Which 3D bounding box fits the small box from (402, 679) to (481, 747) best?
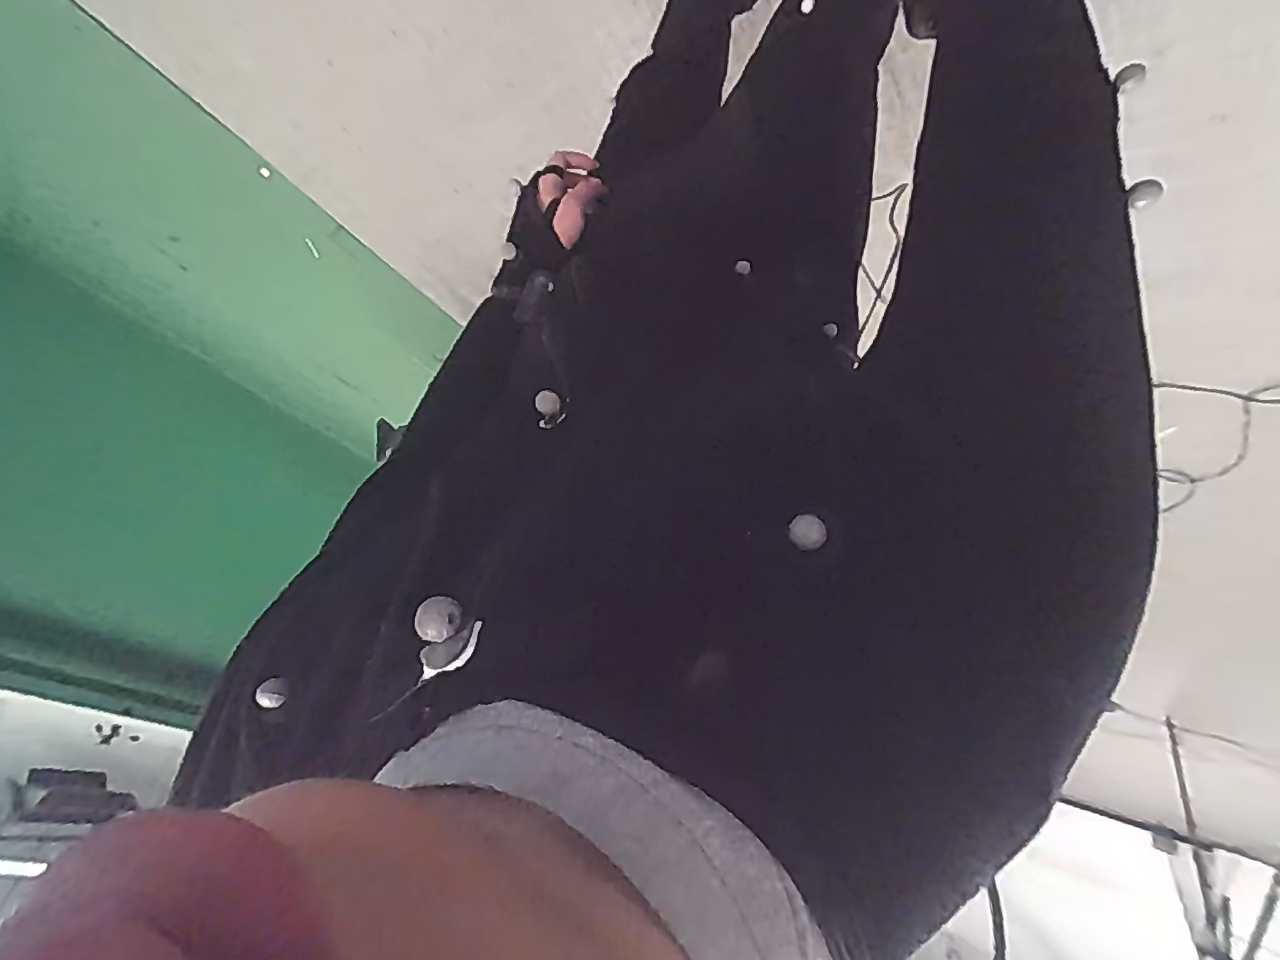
[{"bbox_3d":[-0.700,0.829,1.927,0.168,0.176,0.179,-7,144,41],"label":"small box"}]
